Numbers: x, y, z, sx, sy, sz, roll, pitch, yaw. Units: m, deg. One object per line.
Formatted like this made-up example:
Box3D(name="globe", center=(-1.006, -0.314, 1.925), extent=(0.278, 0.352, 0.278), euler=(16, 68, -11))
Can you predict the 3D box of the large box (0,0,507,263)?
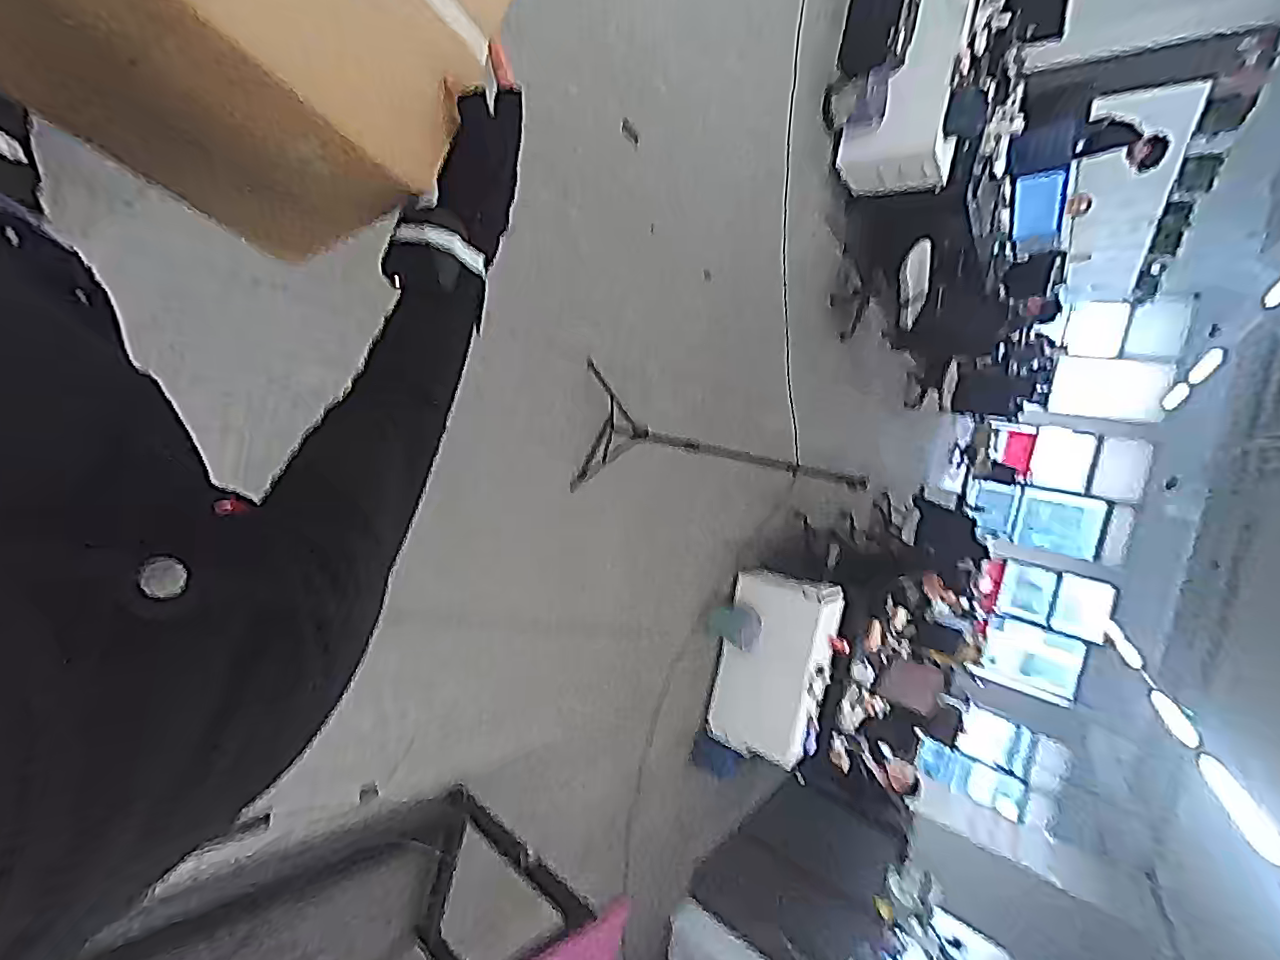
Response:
Box3D(name="large box", center=(-0.384, -0.460, 0.454), extent=(0.408, 0.320, 0.320), euler=(32, 69, -48))
